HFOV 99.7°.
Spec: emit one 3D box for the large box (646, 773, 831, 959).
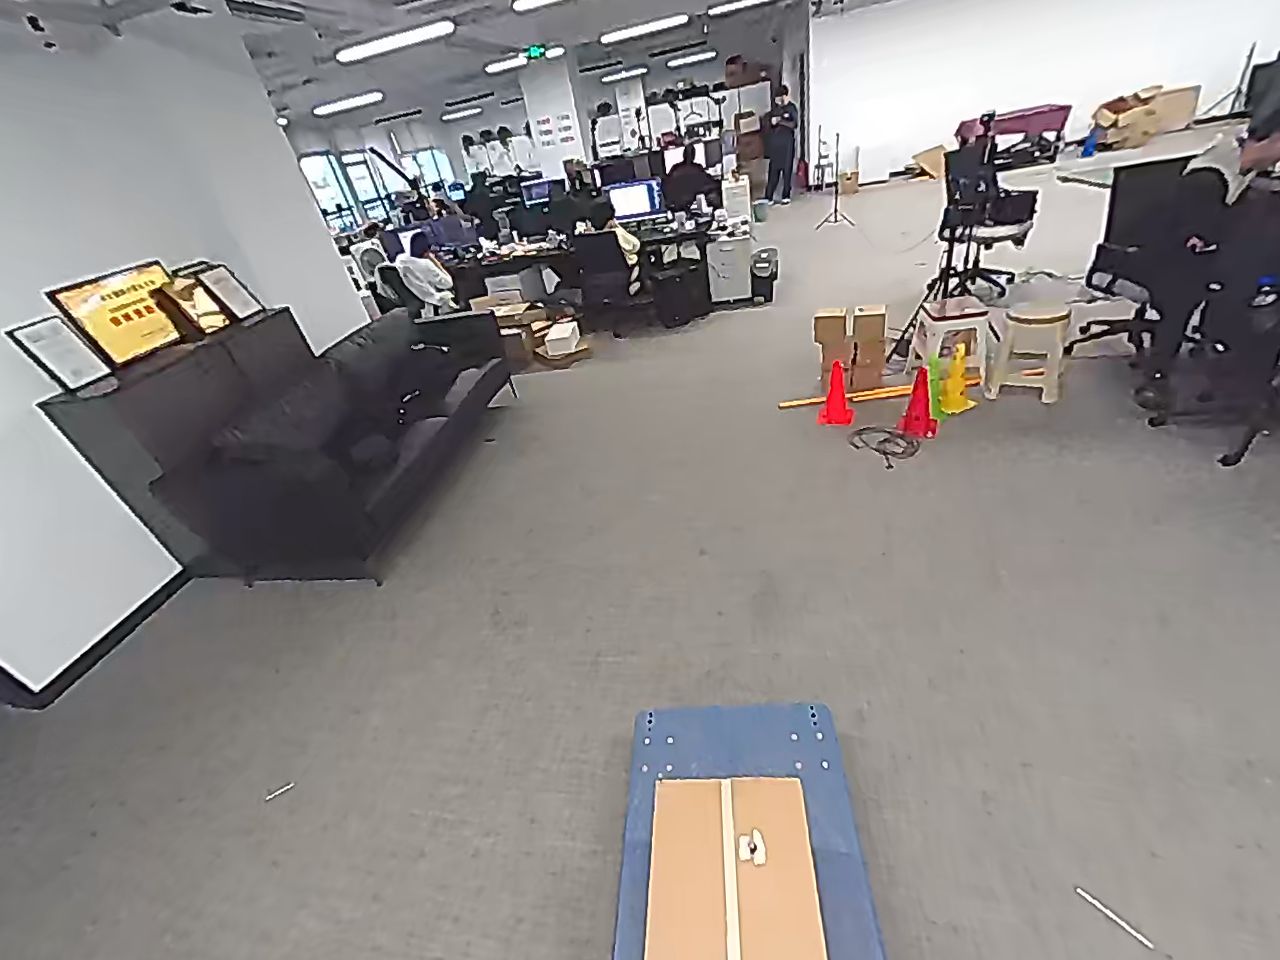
[{"bbox_3d":[0.200,0.874,1.085,0.320,0.320,0.408,-6,33,10],"label":"large box"}]
